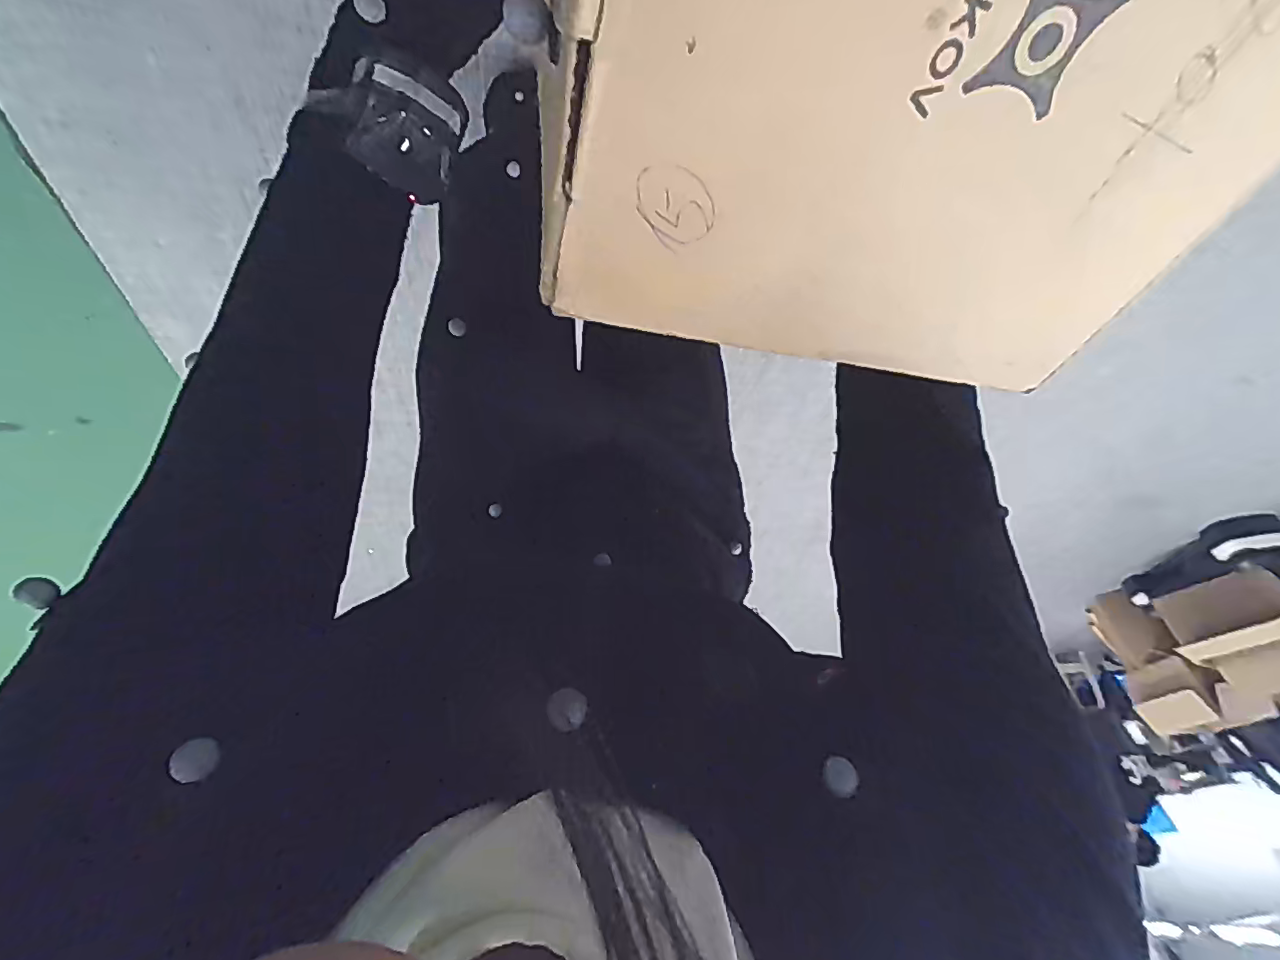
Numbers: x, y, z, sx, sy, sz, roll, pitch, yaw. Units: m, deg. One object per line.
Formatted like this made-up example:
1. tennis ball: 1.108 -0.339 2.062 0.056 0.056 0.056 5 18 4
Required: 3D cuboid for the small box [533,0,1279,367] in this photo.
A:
1. small box: 0.065 -0.158 0.156 0.179 0.176 0.168 3 141 -14
